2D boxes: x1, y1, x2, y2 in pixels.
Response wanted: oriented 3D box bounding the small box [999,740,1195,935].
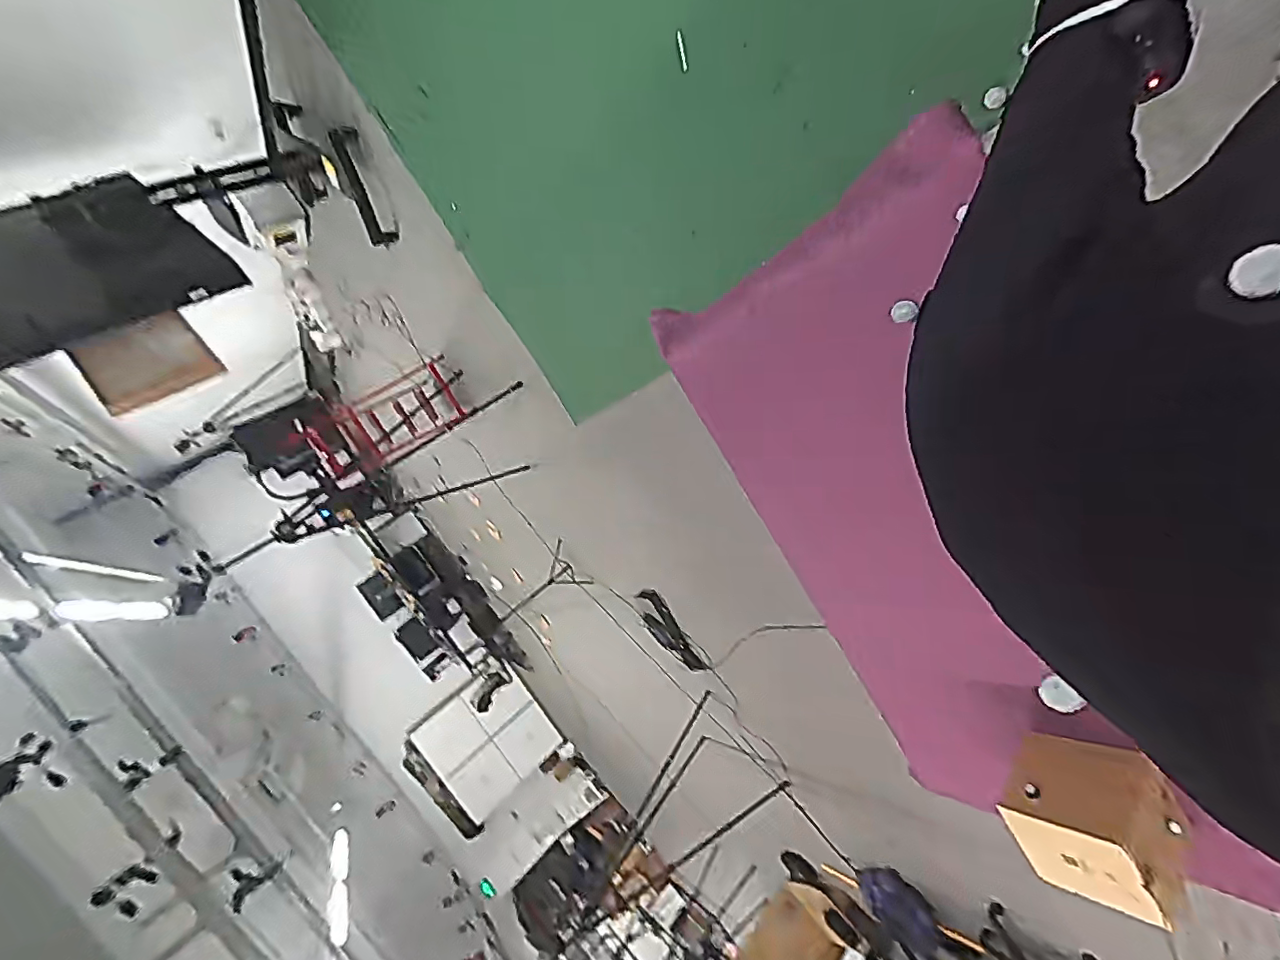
[{"bbox_3d":[0.732,0.553,0.870,0.168,0.176,0.179,57,149,-6],"label":"small box"}]
